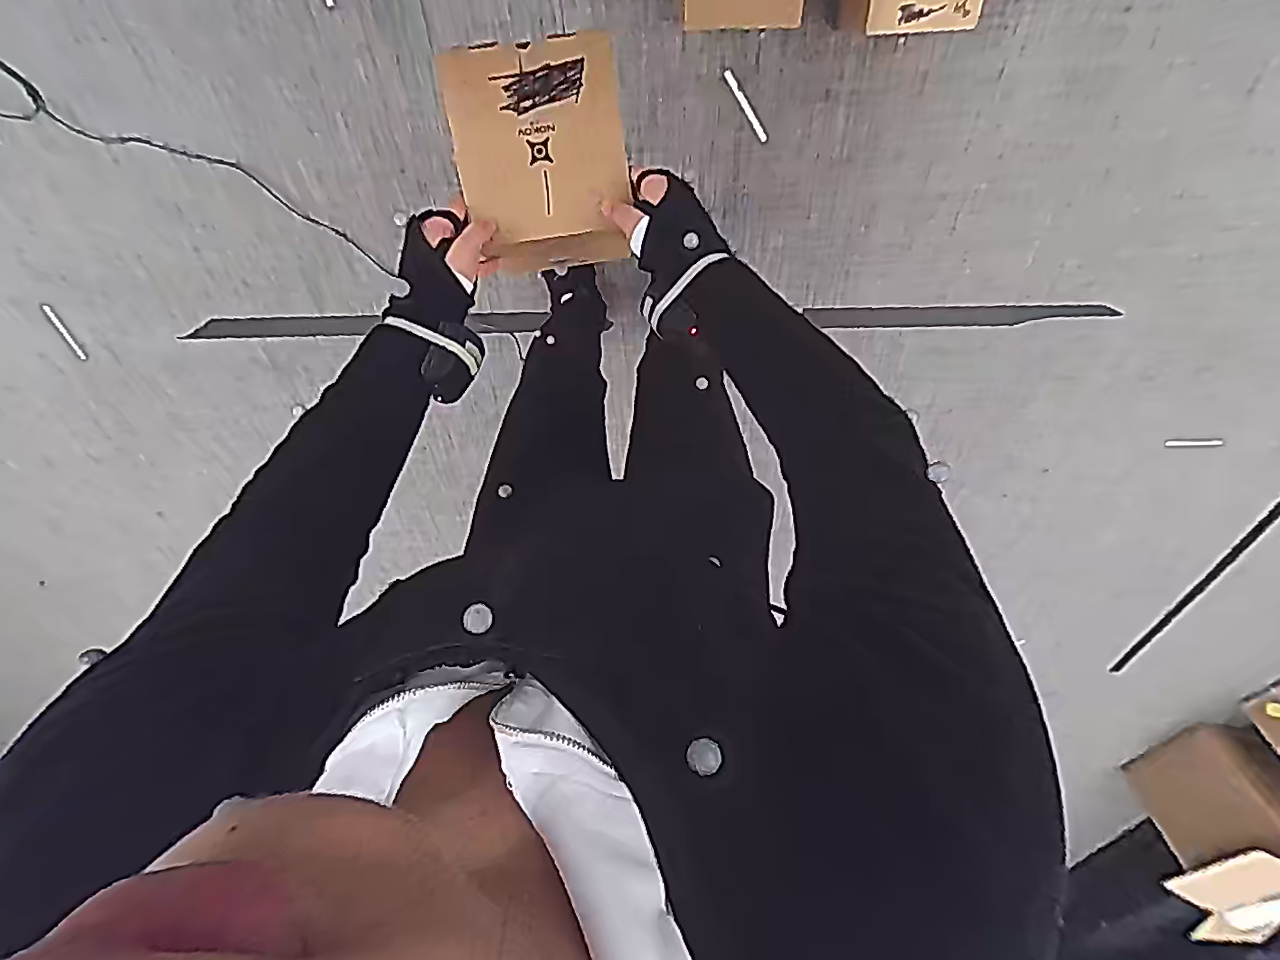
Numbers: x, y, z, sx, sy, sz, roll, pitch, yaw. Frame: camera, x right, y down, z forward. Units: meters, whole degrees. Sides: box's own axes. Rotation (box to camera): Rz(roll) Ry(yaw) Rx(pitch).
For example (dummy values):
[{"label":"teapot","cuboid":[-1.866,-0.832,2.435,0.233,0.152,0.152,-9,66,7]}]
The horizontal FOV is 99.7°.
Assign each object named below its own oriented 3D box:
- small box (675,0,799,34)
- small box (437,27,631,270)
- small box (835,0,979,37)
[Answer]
[{"label":"small box","cuboid":[0.145,-0.785,0.817,0.179,0.176,0.168,-1,129,2]},{"label":"small box","cuboid":[-0.105,-0.347,0.601,0.168,0.176,0.179,-8,102,-1]},{"label":"small box","cuboid":[0.408,-0.785,0.814,0.168,0.176,0.179,-1,130,2]}]
